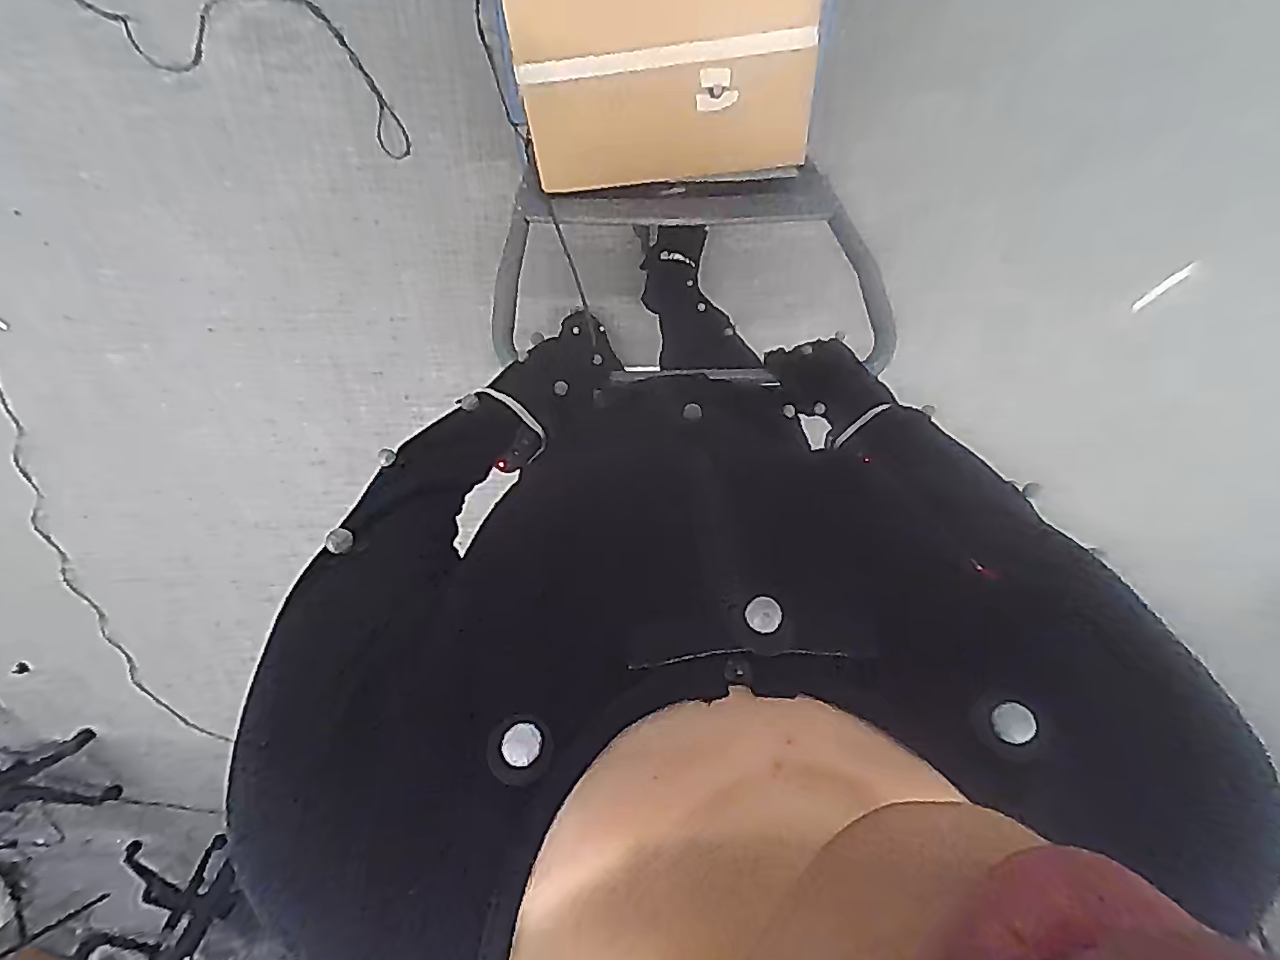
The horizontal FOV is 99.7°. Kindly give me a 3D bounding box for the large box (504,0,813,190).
[{"bbox_3d":[0.023,-0.691,0.837,0.408,0.320,0.320,-6,137,2],"label":"large box"}]
